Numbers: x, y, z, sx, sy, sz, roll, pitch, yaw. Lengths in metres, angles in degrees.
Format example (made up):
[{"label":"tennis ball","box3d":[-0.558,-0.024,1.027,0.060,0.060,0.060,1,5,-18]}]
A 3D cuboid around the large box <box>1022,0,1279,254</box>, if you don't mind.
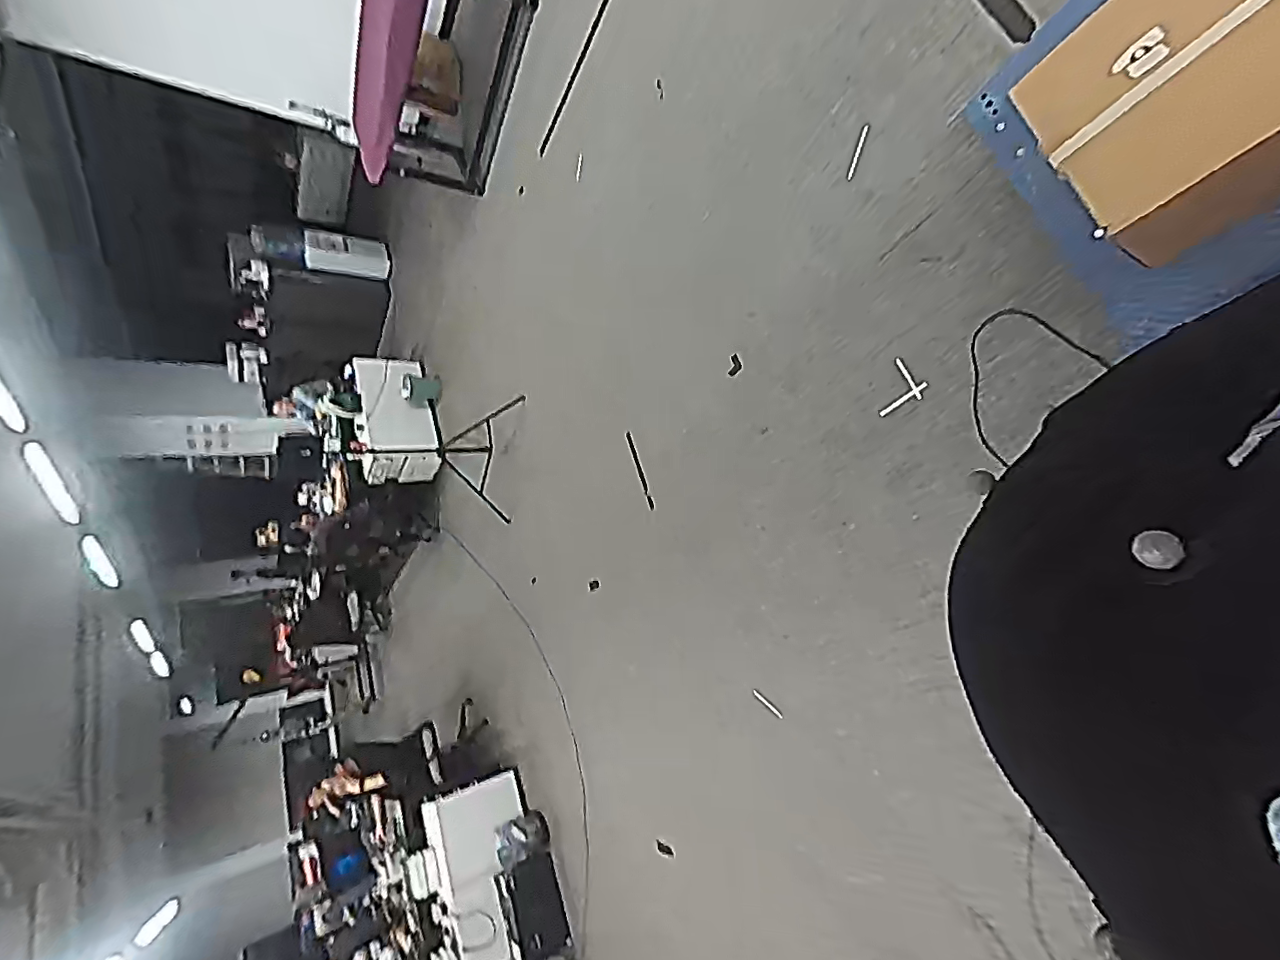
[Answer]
[{"label":"large box","box3d":[0.892,-0.610,0.784,0.408,0.320,0.320,-38,63,49]}]
